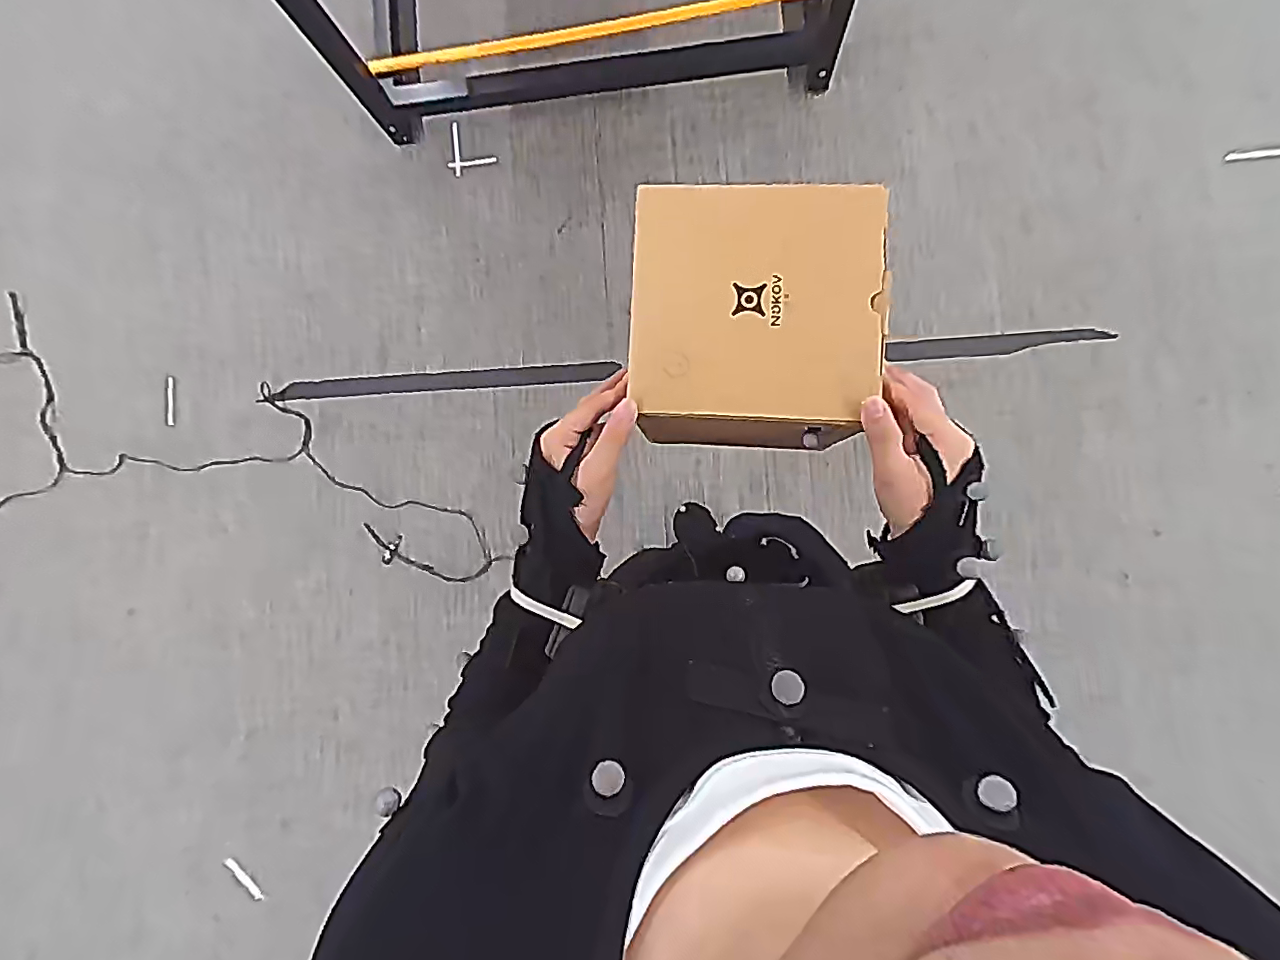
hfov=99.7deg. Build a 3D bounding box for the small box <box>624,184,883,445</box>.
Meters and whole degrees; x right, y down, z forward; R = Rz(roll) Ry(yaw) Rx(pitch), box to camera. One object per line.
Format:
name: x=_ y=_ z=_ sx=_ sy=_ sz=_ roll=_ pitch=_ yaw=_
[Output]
small box: x=0.086 y=-0.123 z=0.460 sx=0.179 sy=0.176 sz=0.168 roll=3 pitch=87 yaw=4
